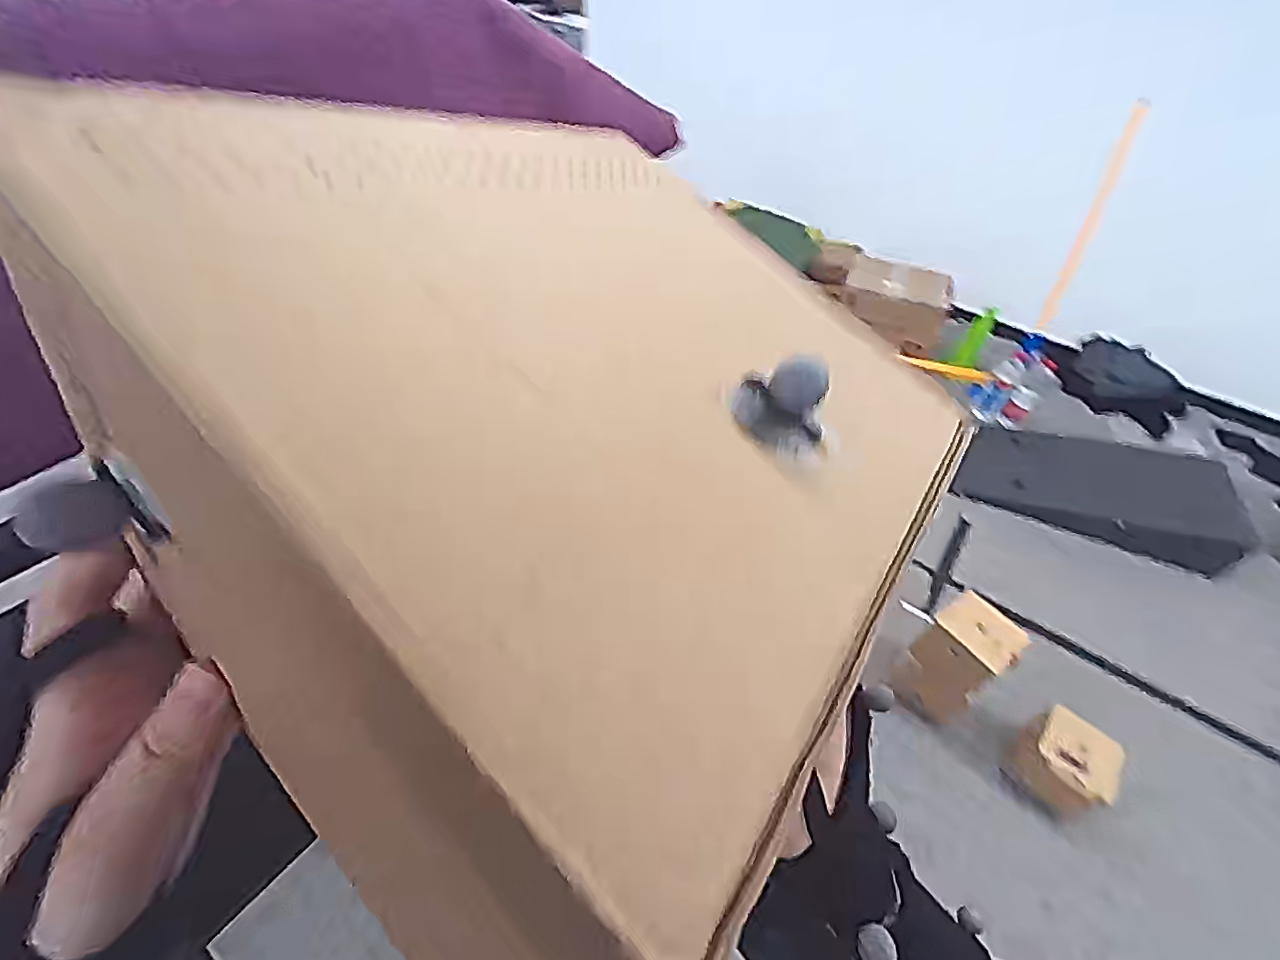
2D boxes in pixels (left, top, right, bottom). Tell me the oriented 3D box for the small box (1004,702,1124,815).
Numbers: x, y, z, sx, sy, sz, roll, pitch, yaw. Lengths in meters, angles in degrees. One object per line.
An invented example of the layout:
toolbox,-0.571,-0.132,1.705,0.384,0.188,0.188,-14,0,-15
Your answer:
small box,1.079,0.718,1.389,0.168,0.176,0.179,37,53,25

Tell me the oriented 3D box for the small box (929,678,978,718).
small box,0.834,0.541,1.527,0.179,0.176,0.168,37,53,24

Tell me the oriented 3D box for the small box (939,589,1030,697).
small box,0.848,0.426,1.409,0.168,0.176,0.179,-25,54,-25

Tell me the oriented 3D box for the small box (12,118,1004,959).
small box,-0.027,0.014,0.179,0.176,0.168,0.179,45,43,14
